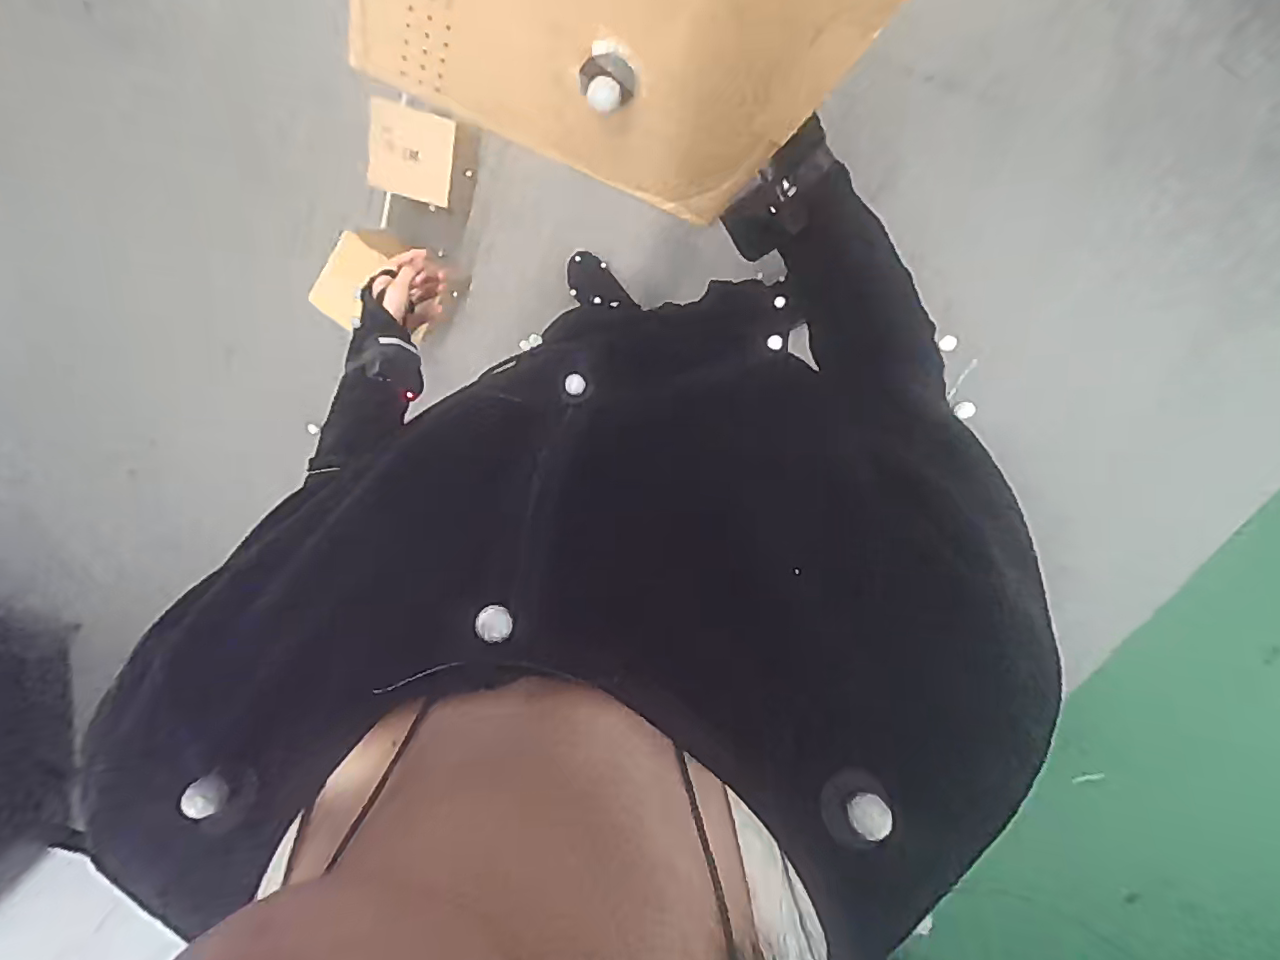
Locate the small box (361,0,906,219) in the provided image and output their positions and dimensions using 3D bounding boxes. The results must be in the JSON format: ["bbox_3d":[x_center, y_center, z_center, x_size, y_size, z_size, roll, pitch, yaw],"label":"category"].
[{"bbox_3d":[0.006,-0.244,0.193,0.176,0.179,0.168,12,160,-26],"label":"small box"}]

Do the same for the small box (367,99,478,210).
[{"bbox_3d":[-0.473,-0.707,1.193,0.179,0.176,0.168,15,115,-4],"label":"small box"}]

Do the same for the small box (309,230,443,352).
[{"bbox_3d":[-0.554,-0.406,1.159,0.168,0.176,0.179,37,110,-13],"label":"small box"}]
